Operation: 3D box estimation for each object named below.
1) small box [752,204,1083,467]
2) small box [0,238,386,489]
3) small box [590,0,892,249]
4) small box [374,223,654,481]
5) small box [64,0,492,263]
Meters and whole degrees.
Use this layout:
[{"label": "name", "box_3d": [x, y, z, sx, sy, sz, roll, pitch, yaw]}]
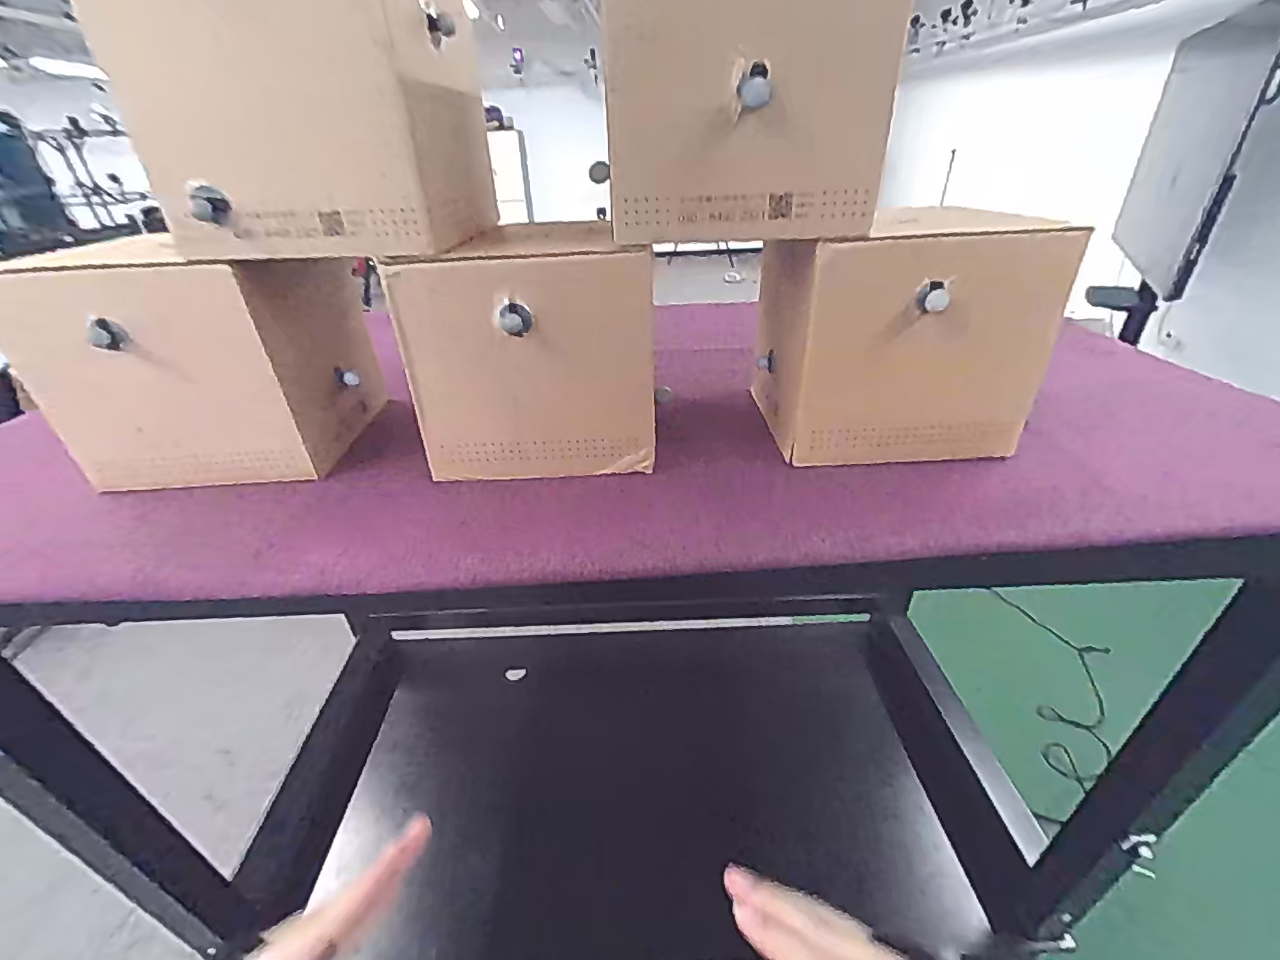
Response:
[{"label": "small box", "box_3d": [0.198, -0.123, 0.450, 0.179, 0.176, 0.168, -4, 32, 1]}, {"label": "small box", "box_3d": [-0.349, -0.103, 0.457, 0.179, 0.176, 0.168, -3, 33, -1]}, {"label": "small box", "box_3d": [0.057, -0.260, 0.371, 0.168, 0.176, 0.179, -2, 32, 0]}, {"label": "small box", "box_3d": [-0.080, -0.109, 0.448, 0.179, 0.176, 0.168, -2, 32, 0]}, {"label": "small box", "box_3d": [-0.212, -0.250, 0.374, 0.168, 0.176, 0.179, -1, 32, 1]}]
